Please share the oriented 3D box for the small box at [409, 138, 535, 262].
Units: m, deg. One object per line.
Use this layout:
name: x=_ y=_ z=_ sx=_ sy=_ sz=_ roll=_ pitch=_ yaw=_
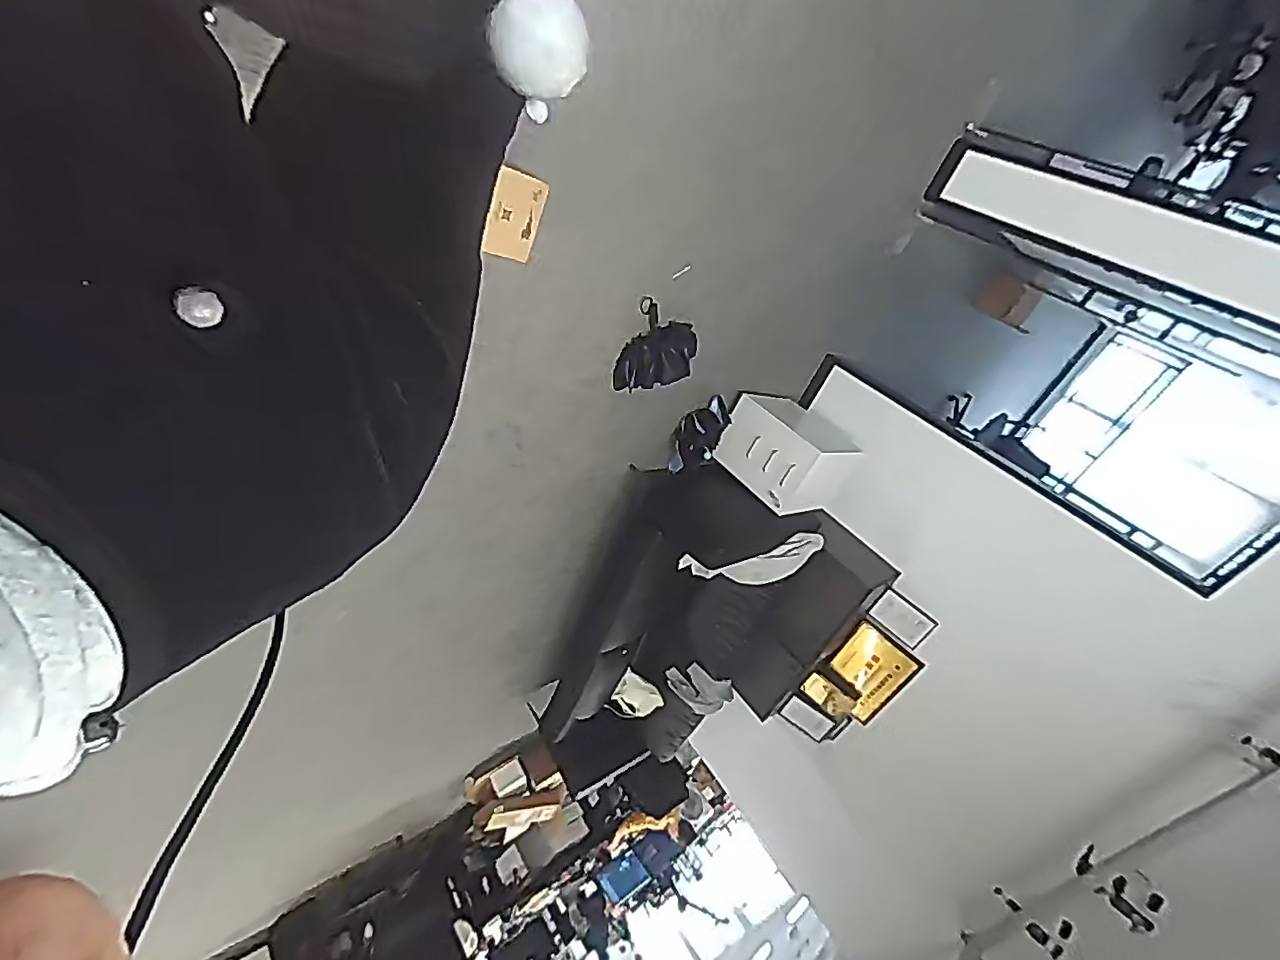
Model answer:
small box: x=-0.356 y=-0.585 z=1.128 sx=0.179 sy=0.176 sz=0.168 roll=-5 pitch=129 yaw=-47
